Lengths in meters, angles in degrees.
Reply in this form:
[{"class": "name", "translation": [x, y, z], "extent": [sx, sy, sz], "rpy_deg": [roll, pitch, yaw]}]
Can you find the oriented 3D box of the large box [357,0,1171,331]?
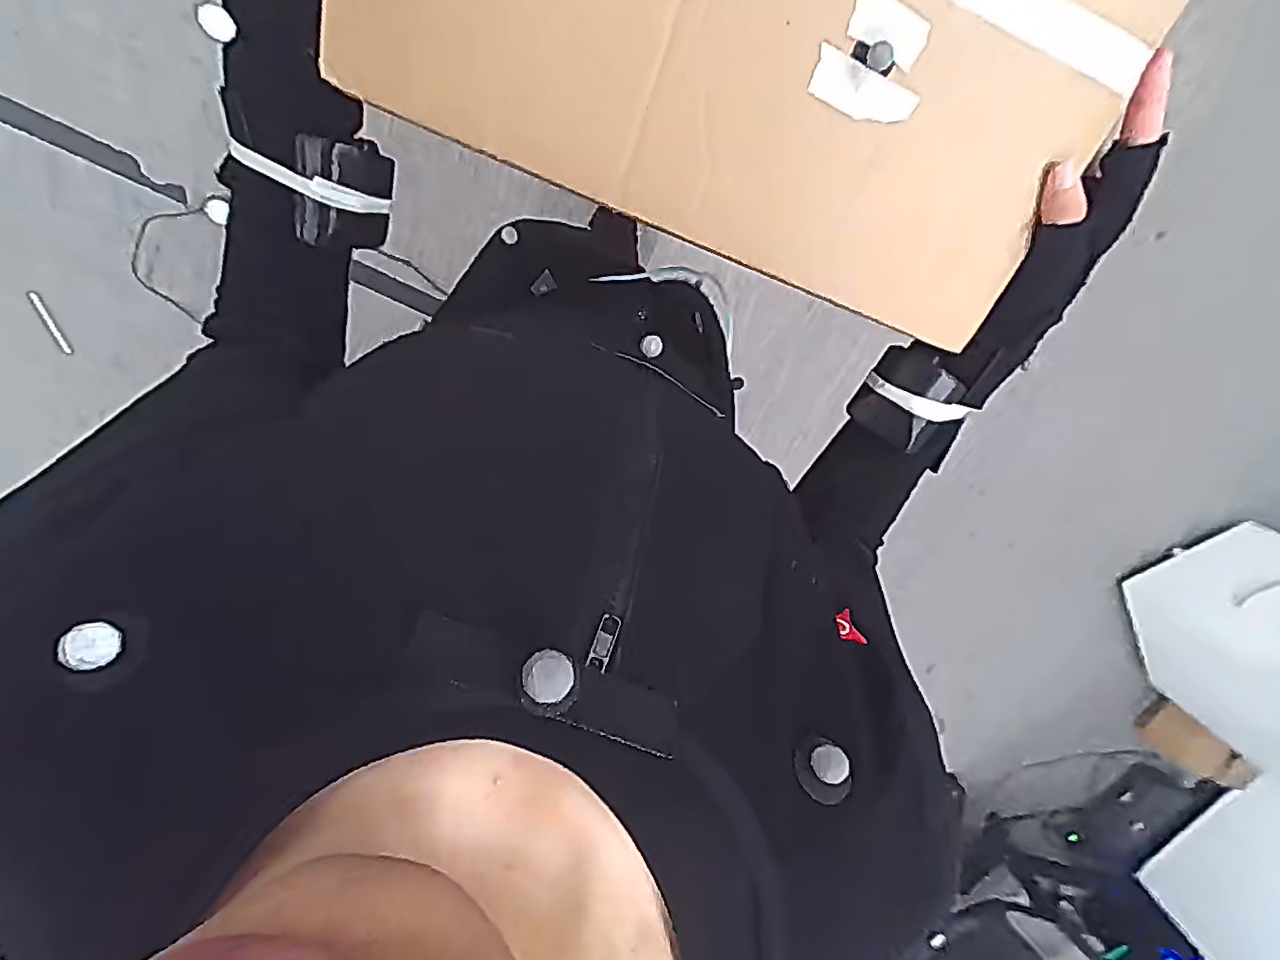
[{"class": "large box", "translation": [0.077, -0.353, 0.399], "extent": [0.408, 0.320, 0.320], "rpy_deg": [19, 116, -10]}]
